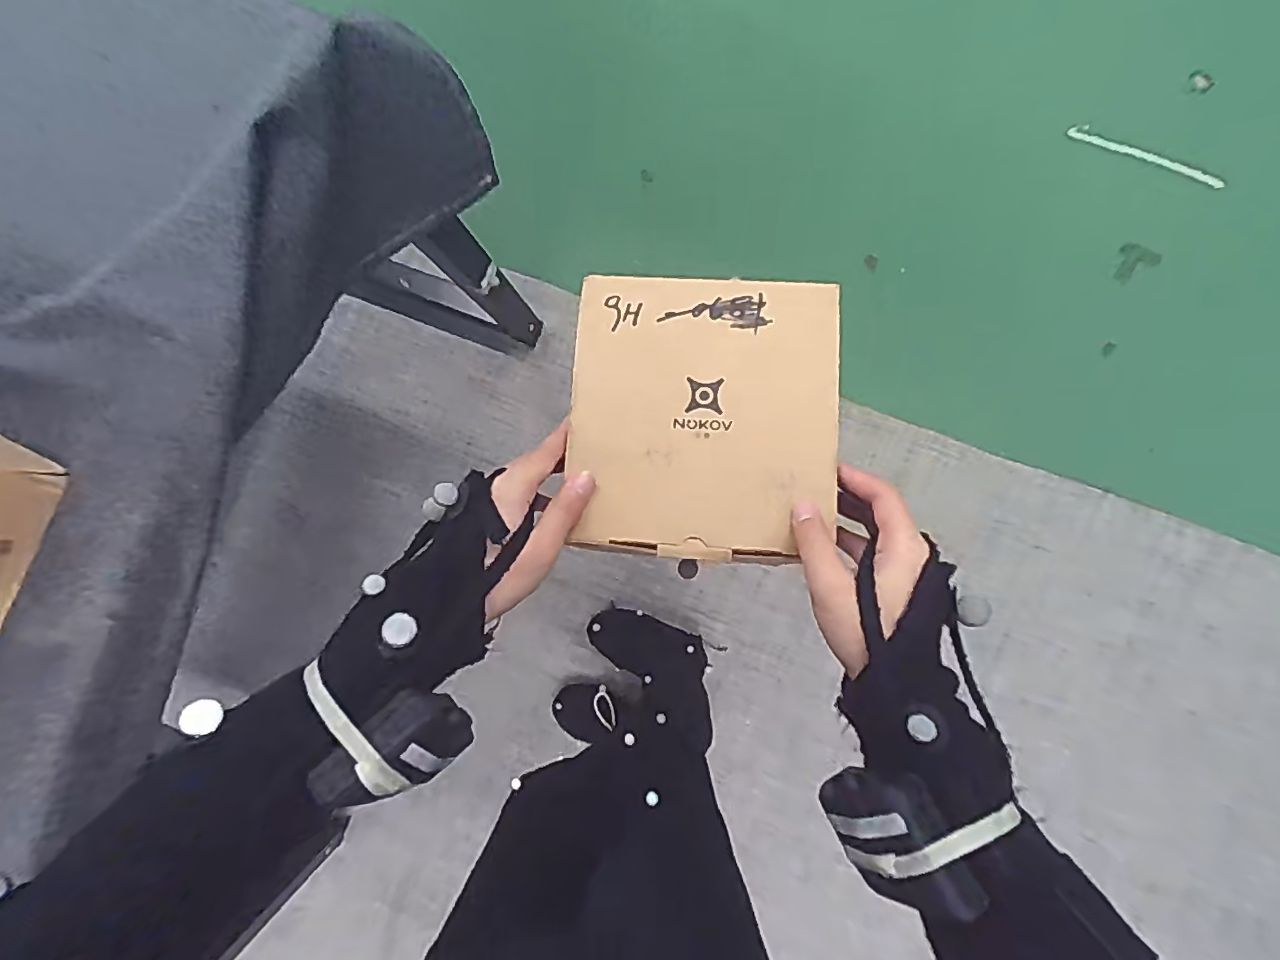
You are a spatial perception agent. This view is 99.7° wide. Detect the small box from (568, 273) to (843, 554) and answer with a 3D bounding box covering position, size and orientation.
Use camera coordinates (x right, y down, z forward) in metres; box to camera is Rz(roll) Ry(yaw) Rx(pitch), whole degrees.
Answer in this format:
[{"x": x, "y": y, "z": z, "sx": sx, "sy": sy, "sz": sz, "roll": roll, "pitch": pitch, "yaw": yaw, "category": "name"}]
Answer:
[{"x": 0.048, "y": -0.036, "z": 0.419, "sx": 0.168, "sy": 0.176, "sz": 0.179, "roll": 3, "pitch": 82, "yaw": 4, "category": "small box"}]
